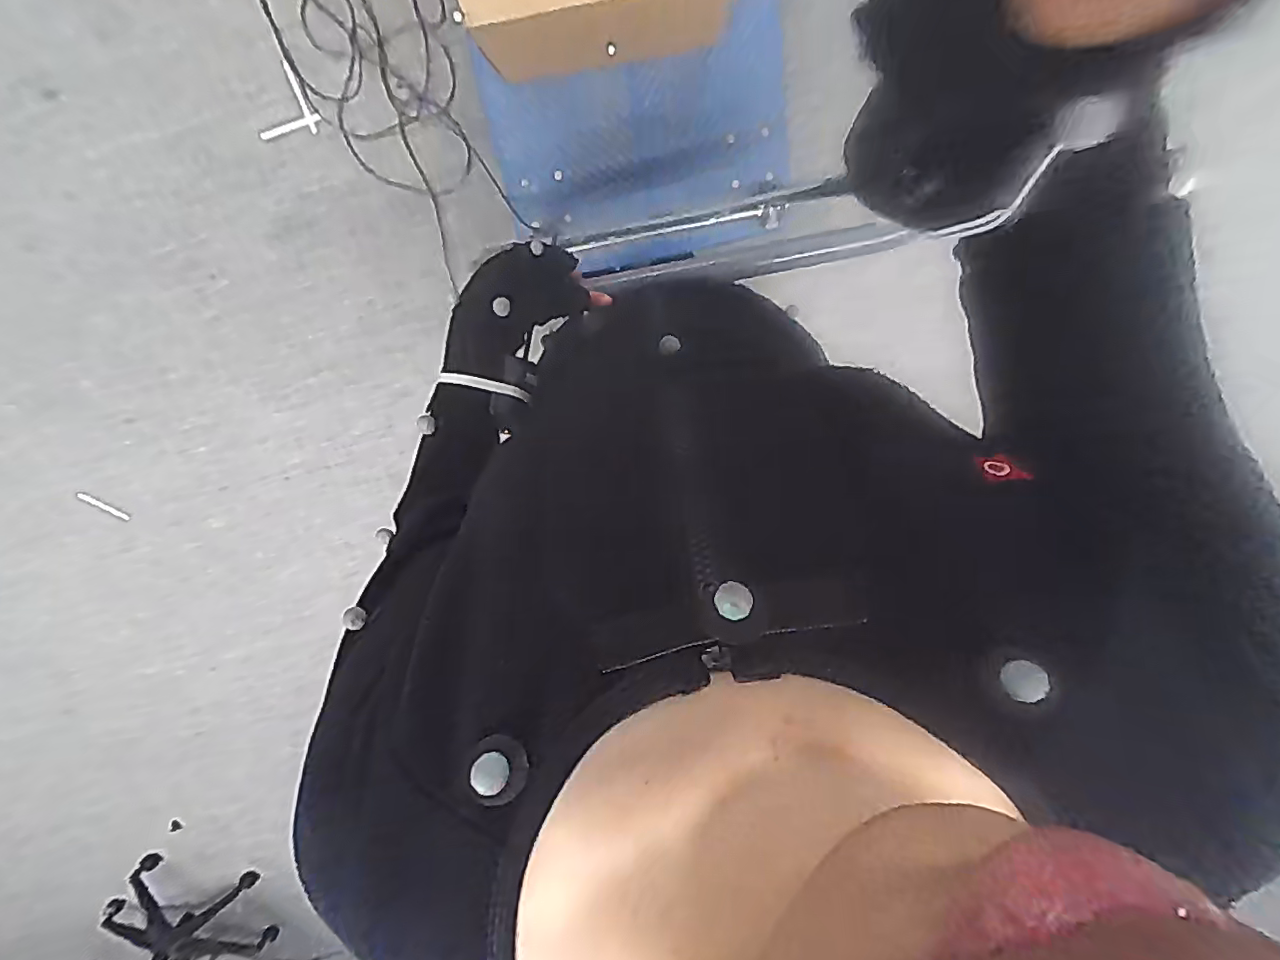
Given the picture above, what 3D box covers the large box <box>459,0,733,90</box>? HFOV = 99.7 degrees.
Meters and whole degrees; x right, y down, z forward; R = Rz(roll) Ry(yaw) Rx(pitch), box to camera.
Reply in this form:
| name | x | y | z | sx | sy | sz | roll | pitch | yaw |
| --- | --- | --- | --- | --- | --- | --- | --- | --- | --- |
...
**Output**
| name | x | y | z | sx | sy | sz | roll | pitch | yaw |
| --- | --- | --- | --- | --- | --- | --- | --- | --- | --- |
| large box | -0.078 | -0.860 | 0.840 | 0.408 | 0.320 | 0.320 | -9 | 112 | 3 |
